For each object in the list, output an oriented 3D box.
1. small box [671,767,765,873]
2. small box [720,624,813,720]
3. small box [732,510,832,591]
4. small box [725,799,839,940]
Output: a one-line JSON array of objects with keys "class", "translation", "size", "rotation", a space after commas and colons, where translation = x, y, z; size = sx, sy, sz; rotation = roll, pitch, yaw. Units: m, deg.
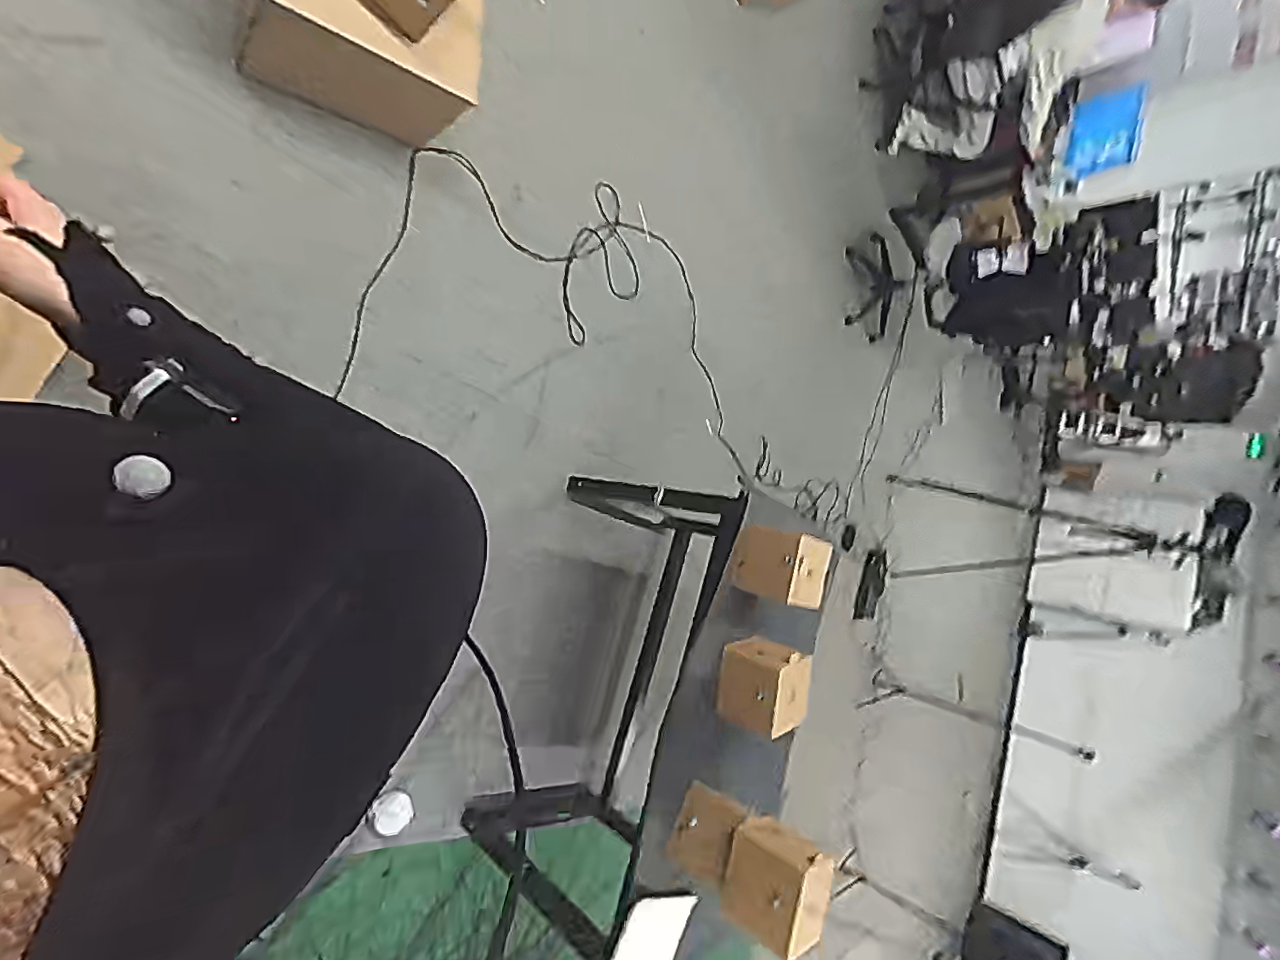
[{"class": "small box", "translation": [0.207, 0.824, 1.309], "size": [0.179, 0.176, 0.168], "rotation": [45, 63, -39]}, {"class": "small box", "translation": [0.322, 0.478, 1.385], "size": [0.168, 0.176, 0.179], "rotation": [2, 94, -45]}, {"class": "small box", "translation": [0.363, 0.178, 1.385], "size": [0.179, 0.176, 0.168], "rotation": [18, 83, -45]}, {"class": "small box", "translation": [0.306, 0.834, 1.177], "size": [0.168, 0.176, 0.179], "rotation": [24, 77, -45]}]
